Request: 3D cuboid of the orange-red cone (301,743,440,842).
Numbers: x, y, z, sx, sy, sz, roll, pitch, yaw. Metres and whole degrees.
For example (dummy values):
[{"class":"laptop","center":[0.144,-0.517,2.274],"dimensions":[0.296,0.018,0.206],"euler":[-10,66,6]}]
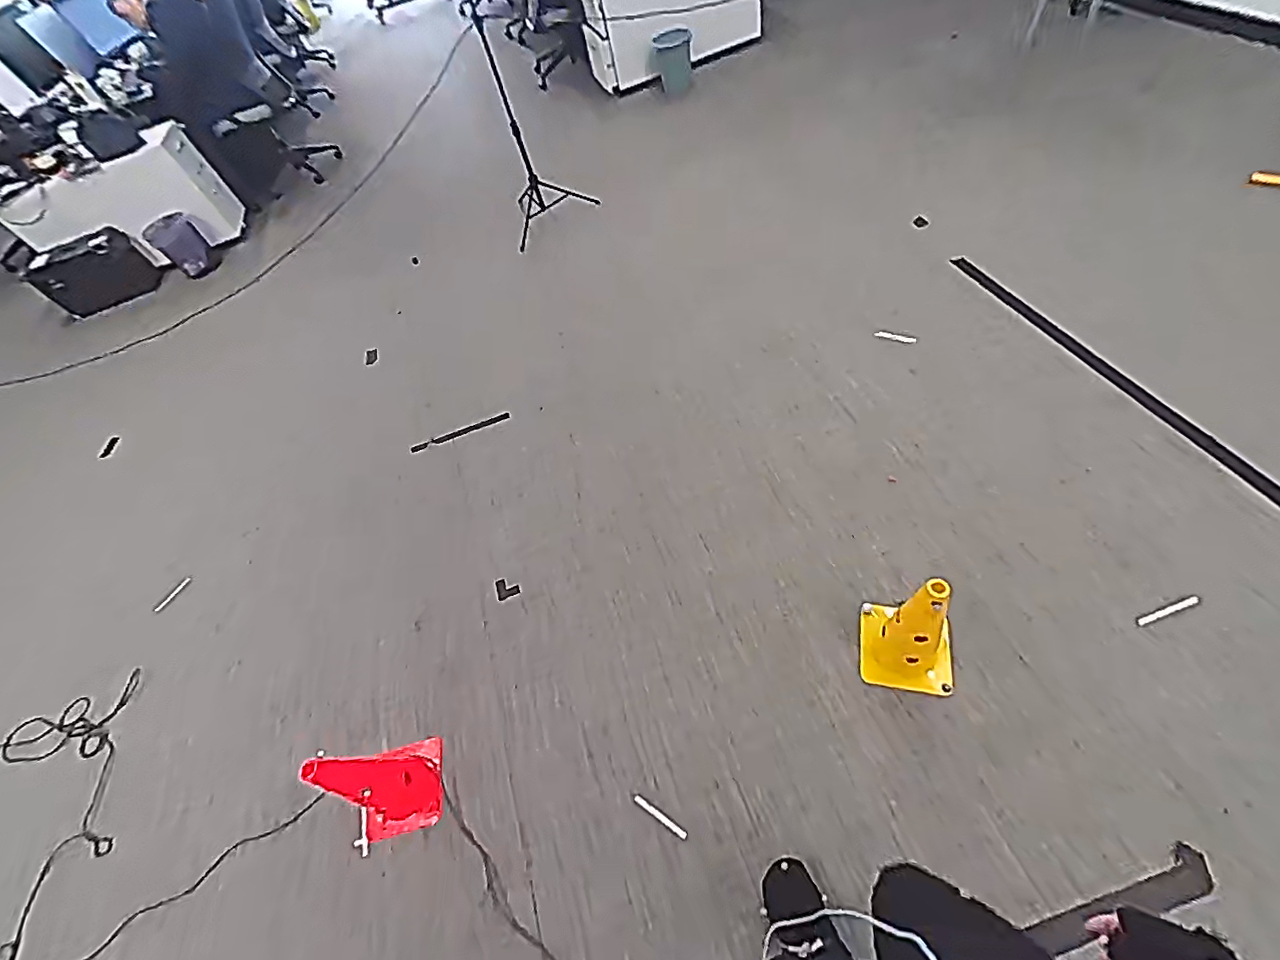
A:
[{"class":"orange-red cone","center":[-0.633,0.691,1.233],"dimensions":[0.199,0.360,0.198],"euler":[-15,54,2]}]
